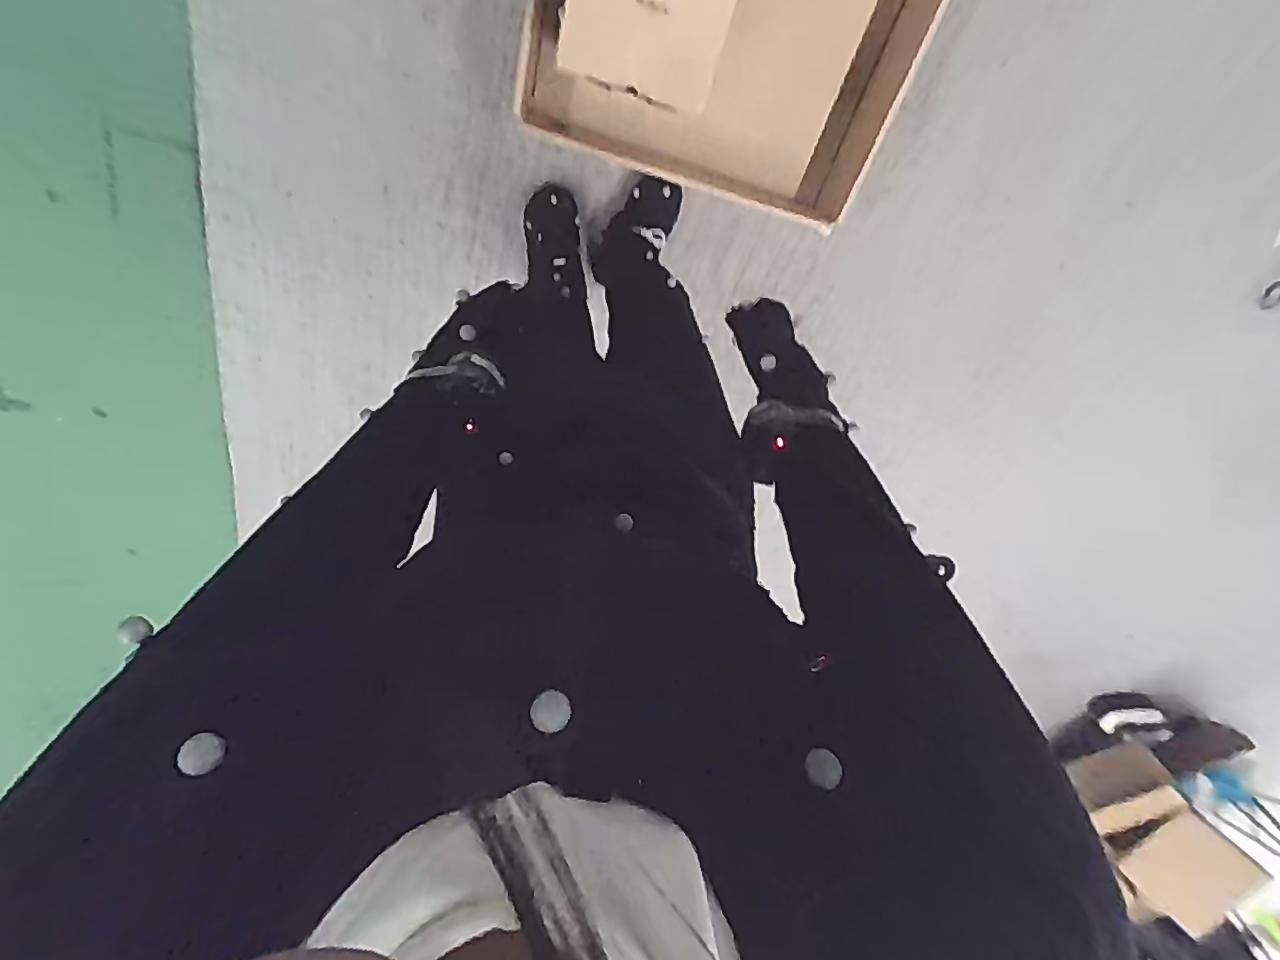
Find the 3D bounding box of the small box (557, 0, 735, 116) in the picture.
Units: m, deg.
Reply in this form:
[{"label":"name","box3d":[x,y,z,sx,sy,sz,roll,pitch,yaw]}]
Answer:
[{"label":"small box","box3d":[0.007,-0.540,0.601,0.168,0.176,0.179,10,128,-15]}]
